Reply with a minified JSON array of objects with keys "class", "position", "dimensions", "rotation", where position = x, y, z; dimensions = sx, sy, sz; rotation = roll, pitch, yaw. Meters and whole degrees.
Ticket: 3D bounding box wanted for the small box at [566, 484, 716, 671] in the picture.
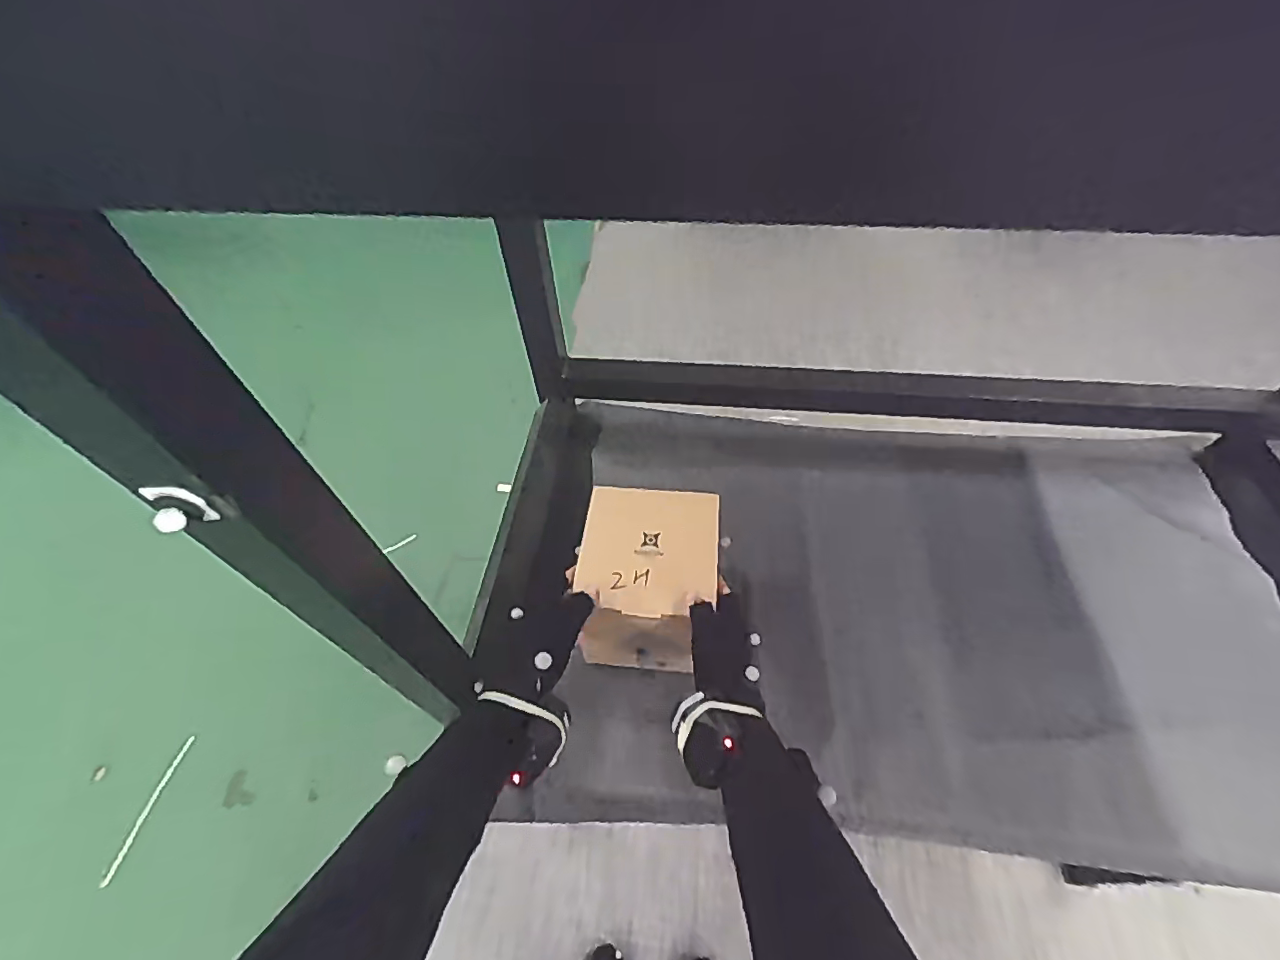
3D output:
[{"class":"small box","position":[0.010,0.128,0.710],"dimensions":[0.168,0.176,0.179],"rotation":[3,50,6]}]
